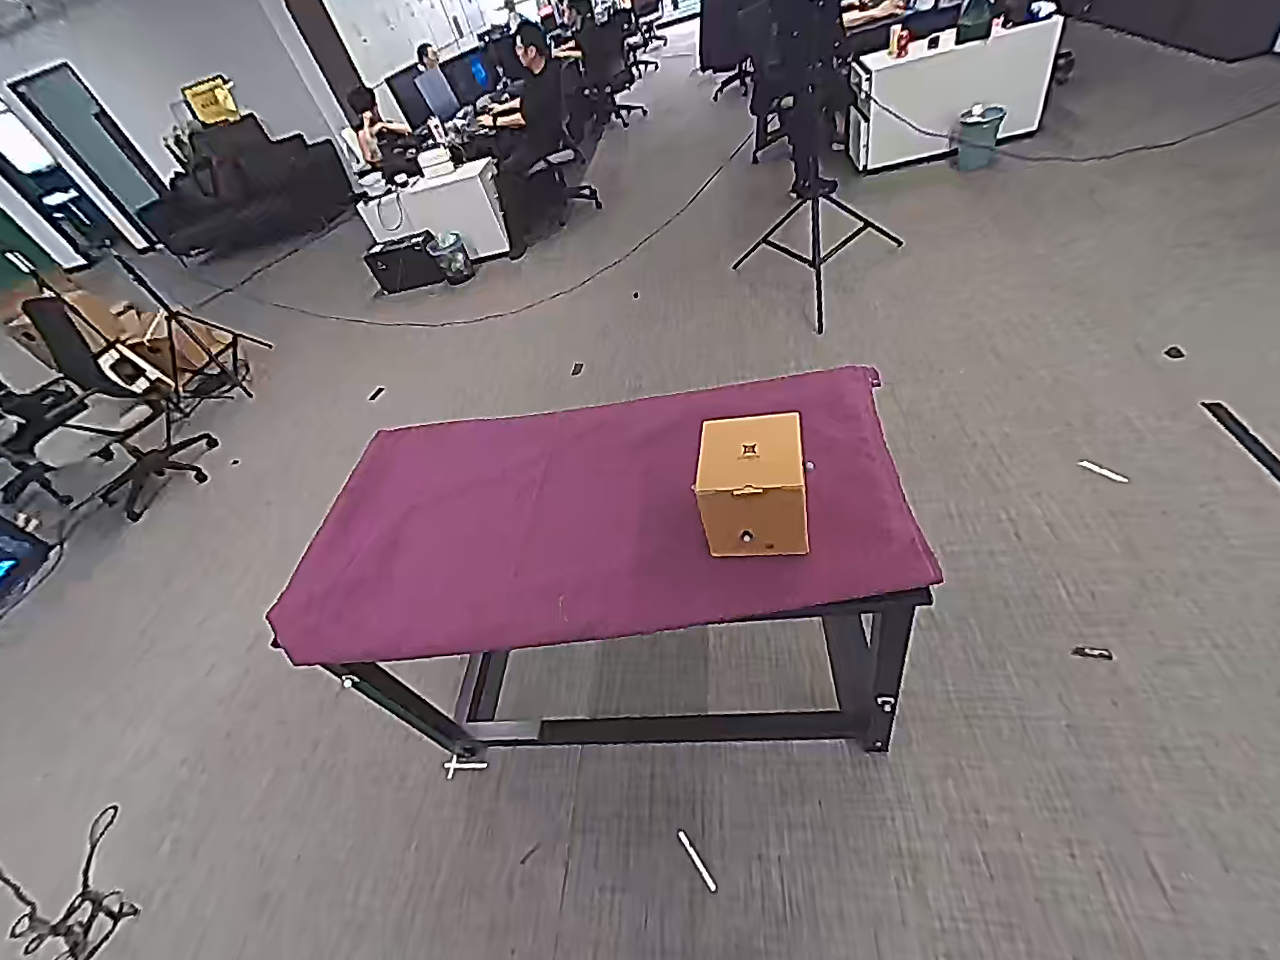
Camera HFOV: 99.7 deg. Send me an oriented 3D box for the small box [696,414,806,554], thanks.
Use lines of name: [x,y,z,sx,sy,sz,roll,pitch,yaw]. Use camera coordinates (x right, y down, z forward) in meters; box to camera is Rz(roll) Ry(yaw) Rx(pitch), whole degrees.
small box: [0.197,0.009,0.935,0.168,0.176,0.179,-4,45,16]
